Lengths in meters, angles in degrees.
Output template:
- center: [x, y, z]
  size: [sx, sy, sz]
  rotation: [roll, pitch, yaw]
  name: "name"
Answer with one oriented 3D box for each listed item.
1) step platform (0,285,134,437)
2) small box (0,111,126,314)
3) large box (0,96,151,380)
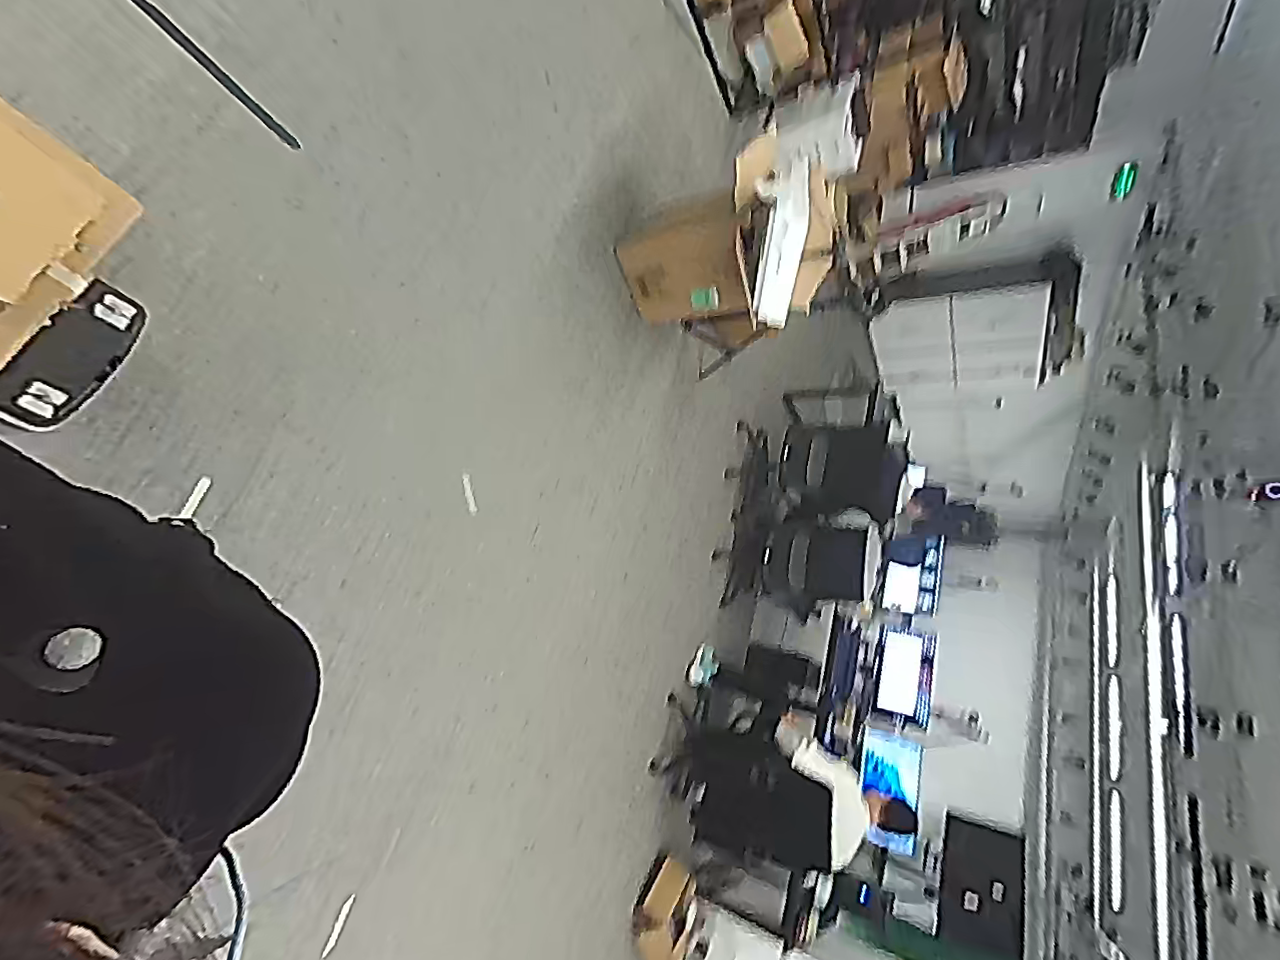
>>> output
- center: [-1.194, -0.364, 0.783]
  size: [0.684, 0.204, 0.286]
  rotation: [50, 53, -44]
  name: "step platform"
- center: [-0.740, -0.302, 0.595]
  size: [0.179, 0.176, 0.168]
  rotation: [46, 57, -46]
  name: "small box"
- center: [-0.976, -0.362, 0.680]
  size: [0.408, 0.320, 0.320]
  rotation: [44, 56, -47]
  name: "large box"
